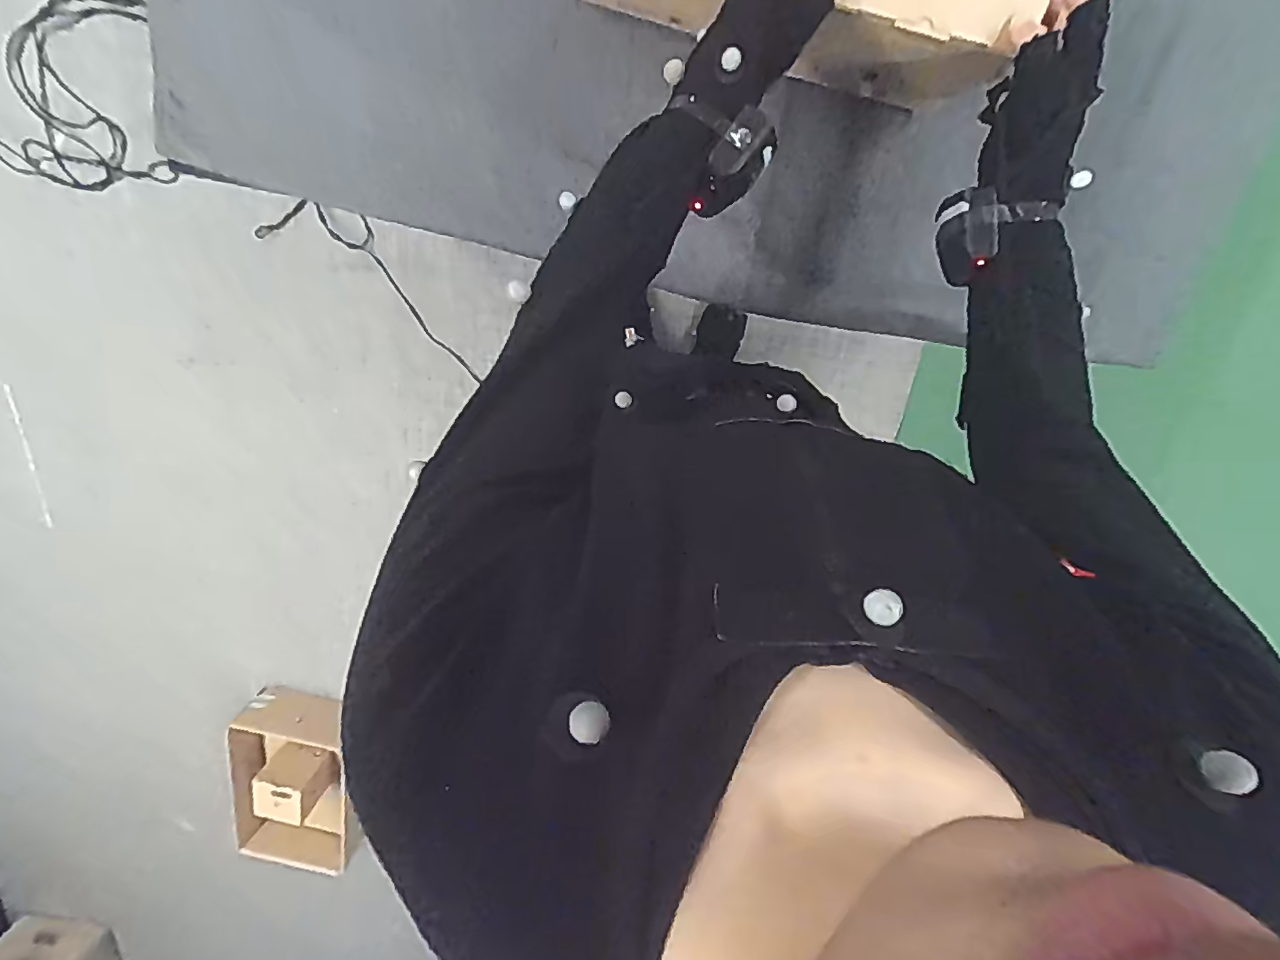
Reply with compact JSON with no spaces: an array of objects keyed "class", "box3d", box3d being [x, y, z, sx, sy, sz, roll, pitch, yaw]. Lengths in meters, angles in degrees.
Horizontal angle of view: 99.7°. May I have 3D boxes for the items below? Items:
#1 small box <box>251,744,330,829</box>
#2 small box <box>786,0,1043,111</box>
[{"class":"small box","box3d":[-1.191,1.044,1.851,0.168,0.176,0.179,15,112,0]},{"class":"small box","box3d":[0.237,-0.450,0.456,0.168,0.176,0.179,14,113,-2]}]
